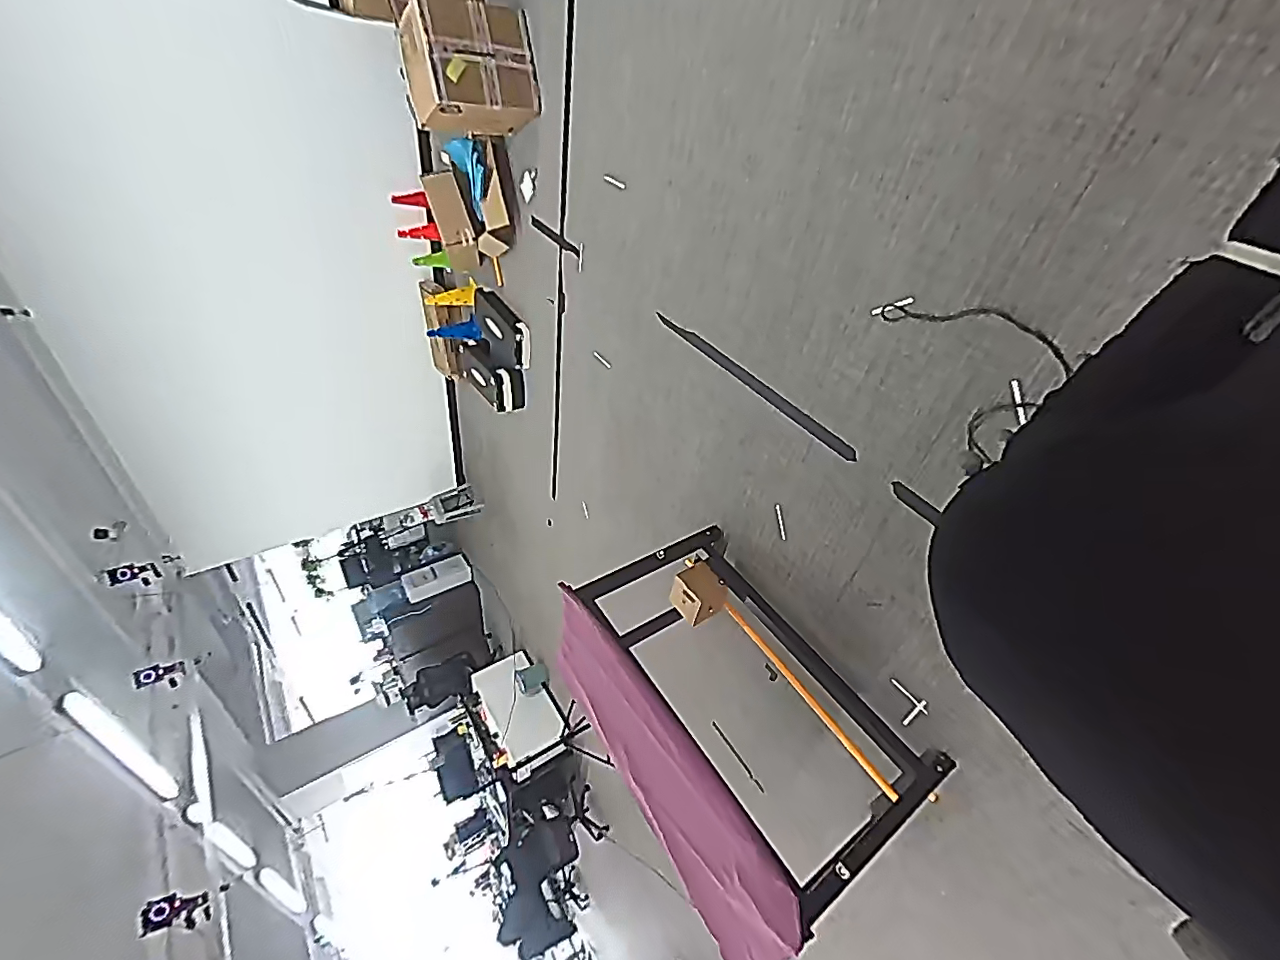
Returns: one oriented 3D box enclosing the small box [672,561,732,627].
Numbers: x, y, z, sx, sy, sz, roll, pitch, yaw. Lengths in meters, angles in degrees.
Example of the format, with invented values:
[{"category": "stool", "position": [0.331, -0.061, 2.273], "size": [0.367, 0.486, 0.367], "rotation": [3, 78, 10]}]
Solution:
[{"category": "small box", "position": [0.260, 0.467, 2.239], "size": [0.168, 0.176, 0.179], "rotation": [46, 143, 34]}]
